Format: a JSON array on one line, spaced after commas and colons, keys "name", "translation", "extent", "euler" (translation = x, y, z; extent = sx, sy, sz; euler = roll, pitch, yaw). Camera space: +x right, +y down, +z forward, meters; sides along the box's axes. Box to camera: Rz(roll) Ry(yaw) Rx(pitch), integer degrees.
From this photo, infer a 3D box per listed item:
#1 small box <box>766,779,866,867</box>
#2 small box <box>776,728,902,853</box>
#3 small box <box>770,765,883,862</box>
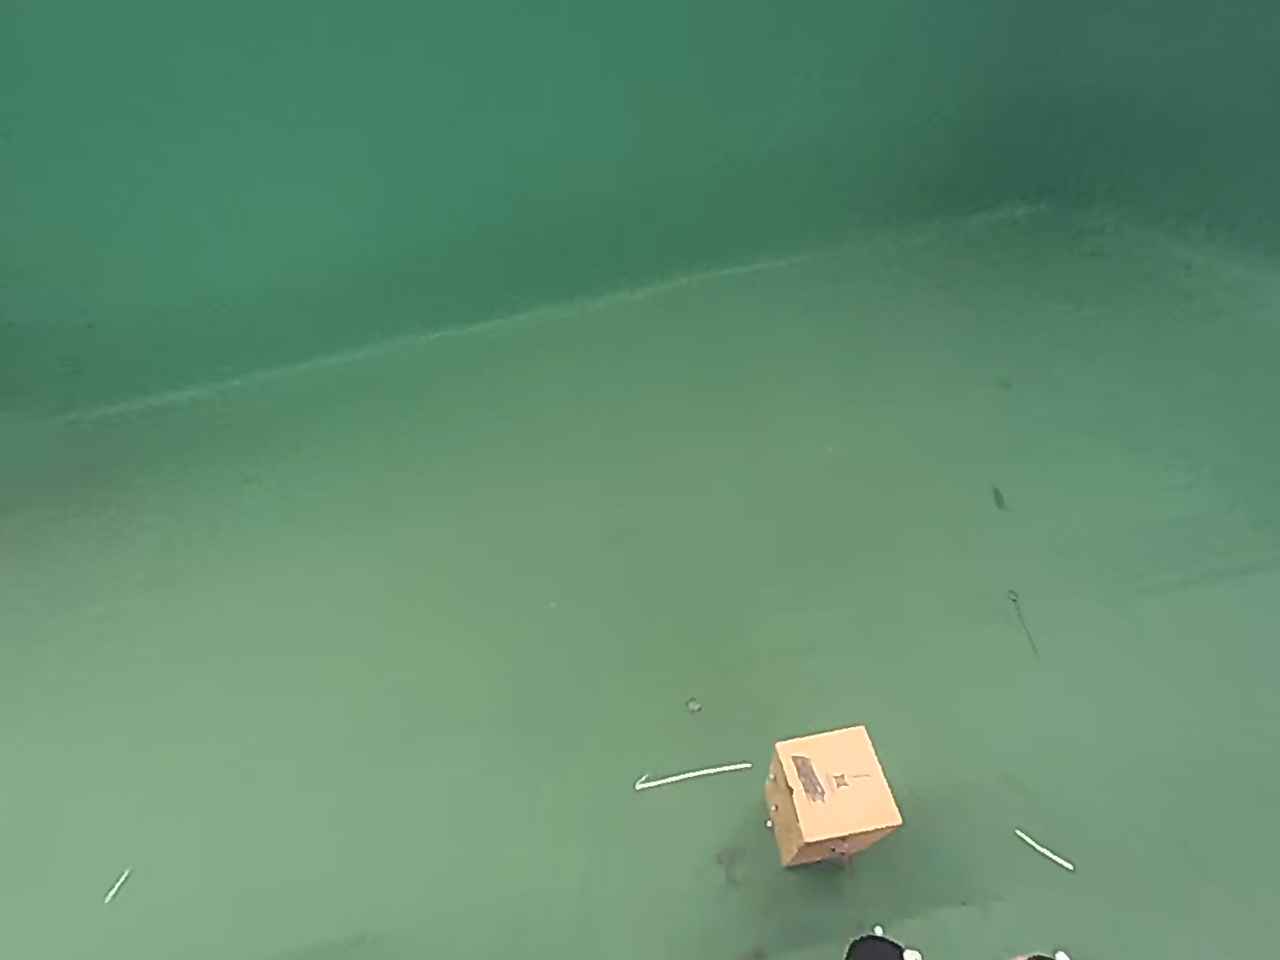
[{"name": "small box", "translation": [0.408, 0.805, 1.285], "extent": [0.179, 0.176, 0.168], "euler": [-10, 49, 1]}, {"name": "small box", "translation": [0.366, 0.598, 1.036], "extent": [0.179, 0.176, 0.168], "euler": [-11, 50, 0]}, {"name": "small box", "translation": [0.387, 0.704, 1.160], "extent": [0.179, 0.176, 0.168], "euler": [-11, 50, 1]}]
